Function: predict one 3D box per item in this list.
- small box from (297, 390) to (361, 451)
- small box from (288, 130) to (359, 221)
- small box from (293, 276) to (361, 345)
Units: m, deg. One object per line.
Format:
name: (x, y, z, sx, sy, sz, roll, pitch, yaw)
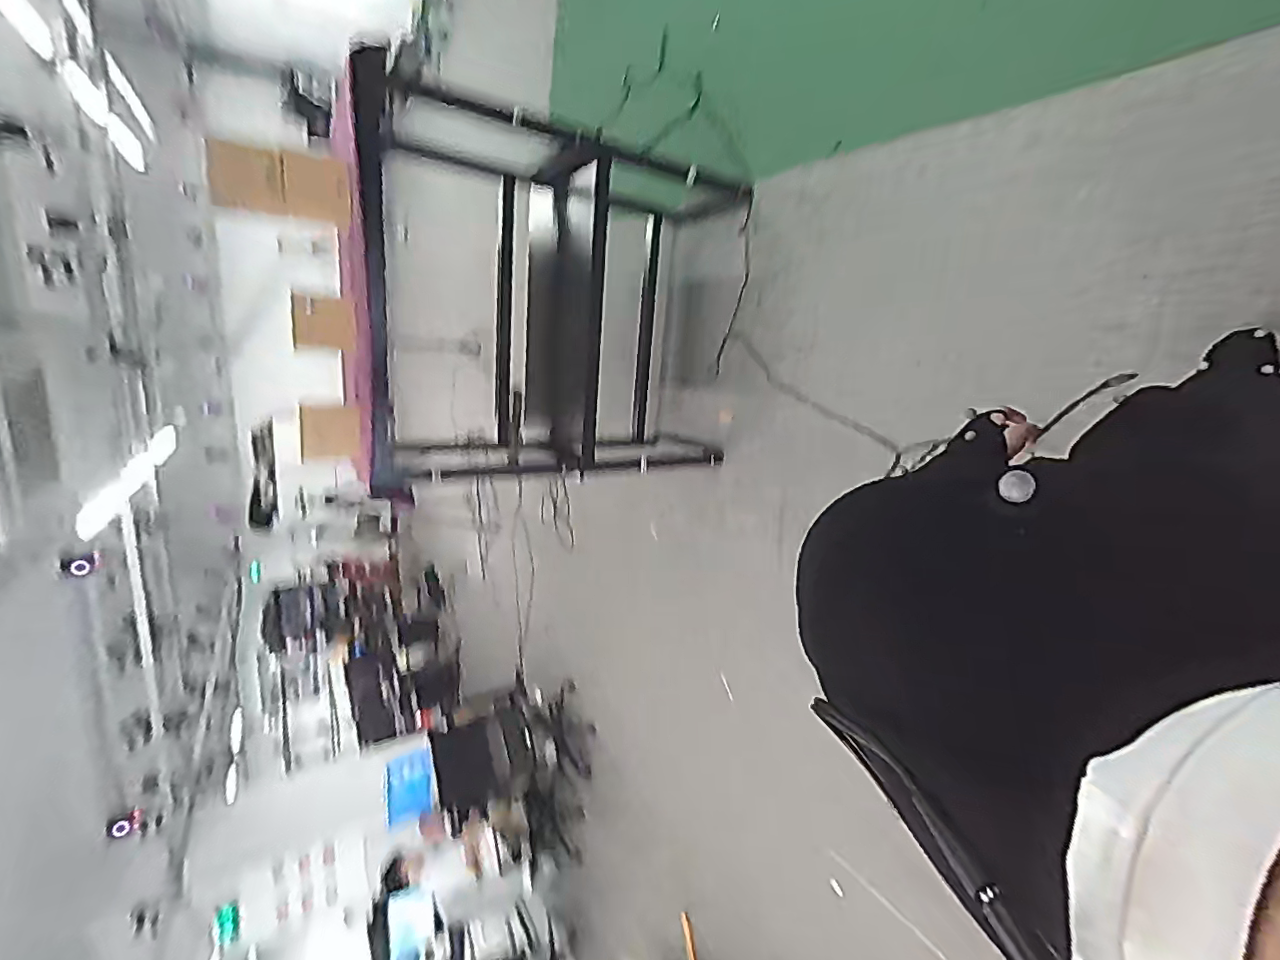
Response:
small box: (-0.985, -0.189, 1.713, 0.168, 0.176, 0.179, 18, 106, 55)
small box: (-0.923, -0.877, 1.576, 0.168, 0.176, 0.179, 24, 111, 56)
small box: (-0.959, -0.514, 1.655, 0.168, 0.176, 0.179, 24, 112, 55)
